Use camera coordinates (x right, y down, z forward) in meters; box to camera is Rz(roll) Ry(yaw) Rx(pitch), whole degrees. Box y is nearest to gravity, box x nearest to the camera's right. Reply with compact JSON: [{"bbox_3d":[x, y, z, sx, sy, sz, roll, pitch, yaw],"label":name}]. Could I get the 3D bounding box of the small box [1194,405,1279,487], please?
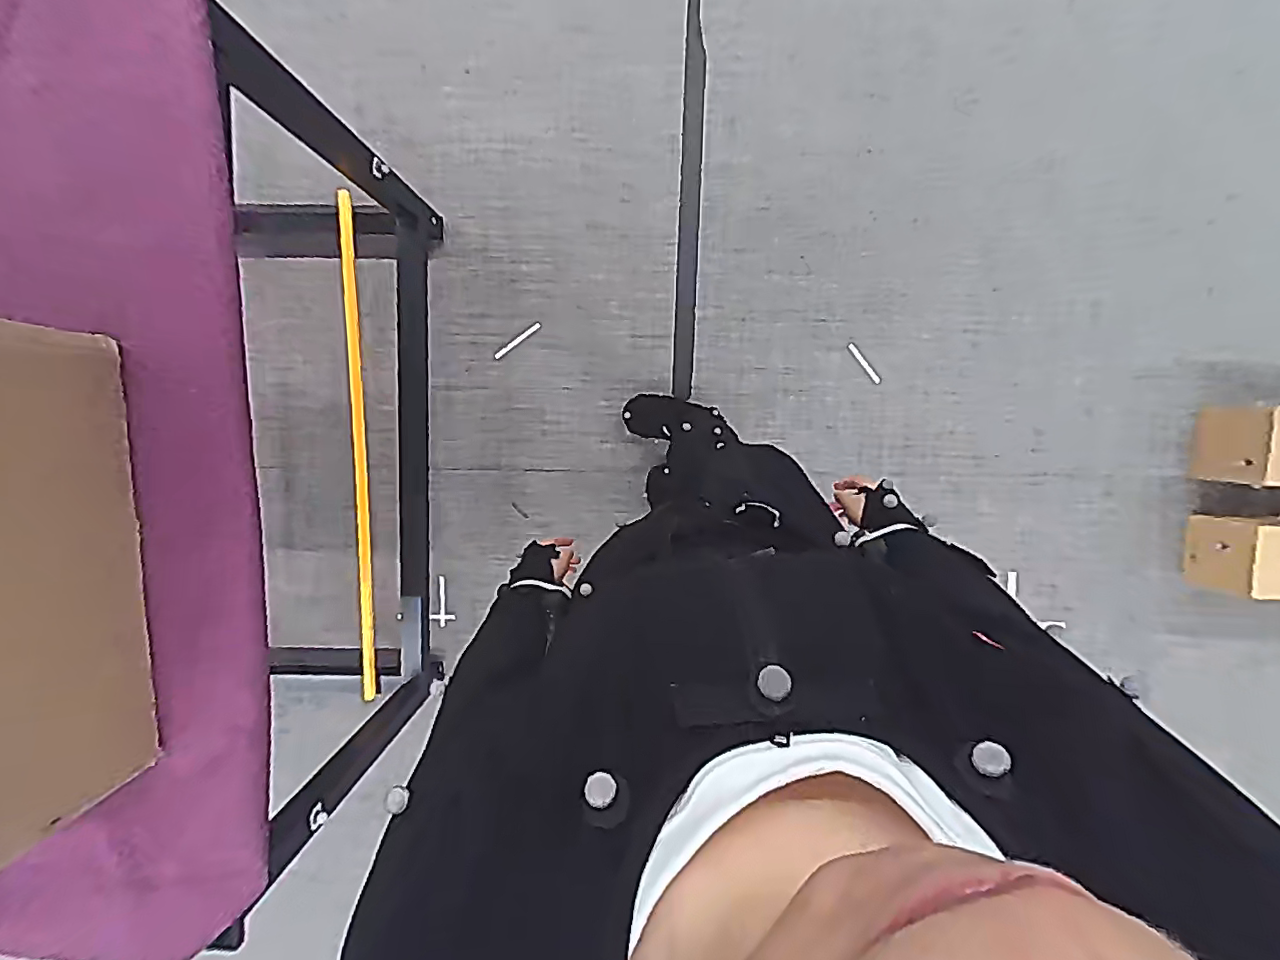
[{"bbox_3d":[1.436,-0.079,1.238,0.168,0.176,0.179,1,95,2],"label":"small box"}]
